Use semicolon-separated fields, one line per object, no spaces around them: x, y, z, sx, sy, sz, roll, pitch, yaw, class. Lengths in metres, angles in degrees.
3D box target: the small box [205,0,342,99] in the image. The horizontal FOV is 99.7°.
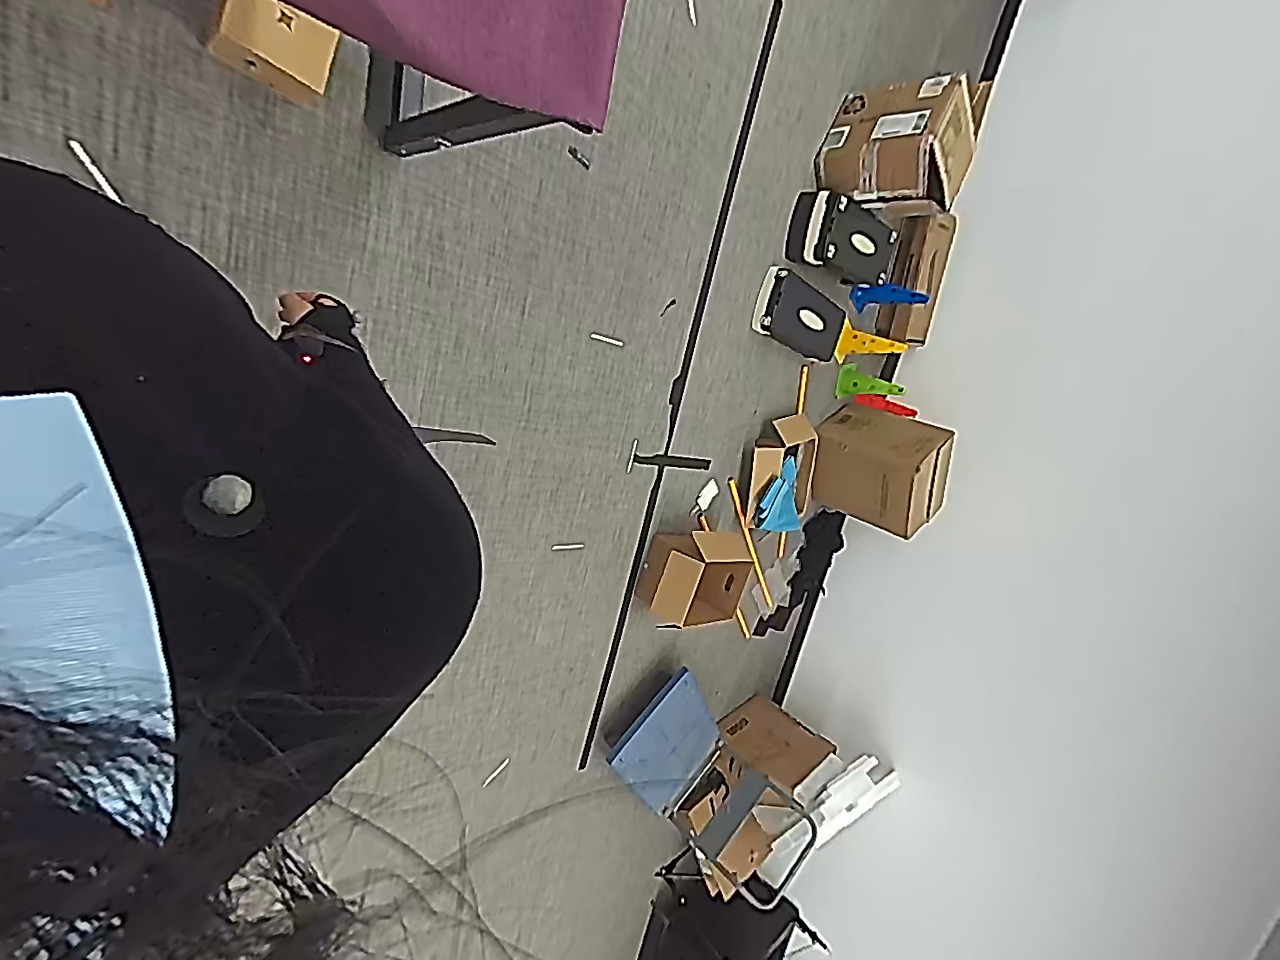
-0.701;-0.868;1.029;0.168;0.176;0.179;13;98;-48;small box
